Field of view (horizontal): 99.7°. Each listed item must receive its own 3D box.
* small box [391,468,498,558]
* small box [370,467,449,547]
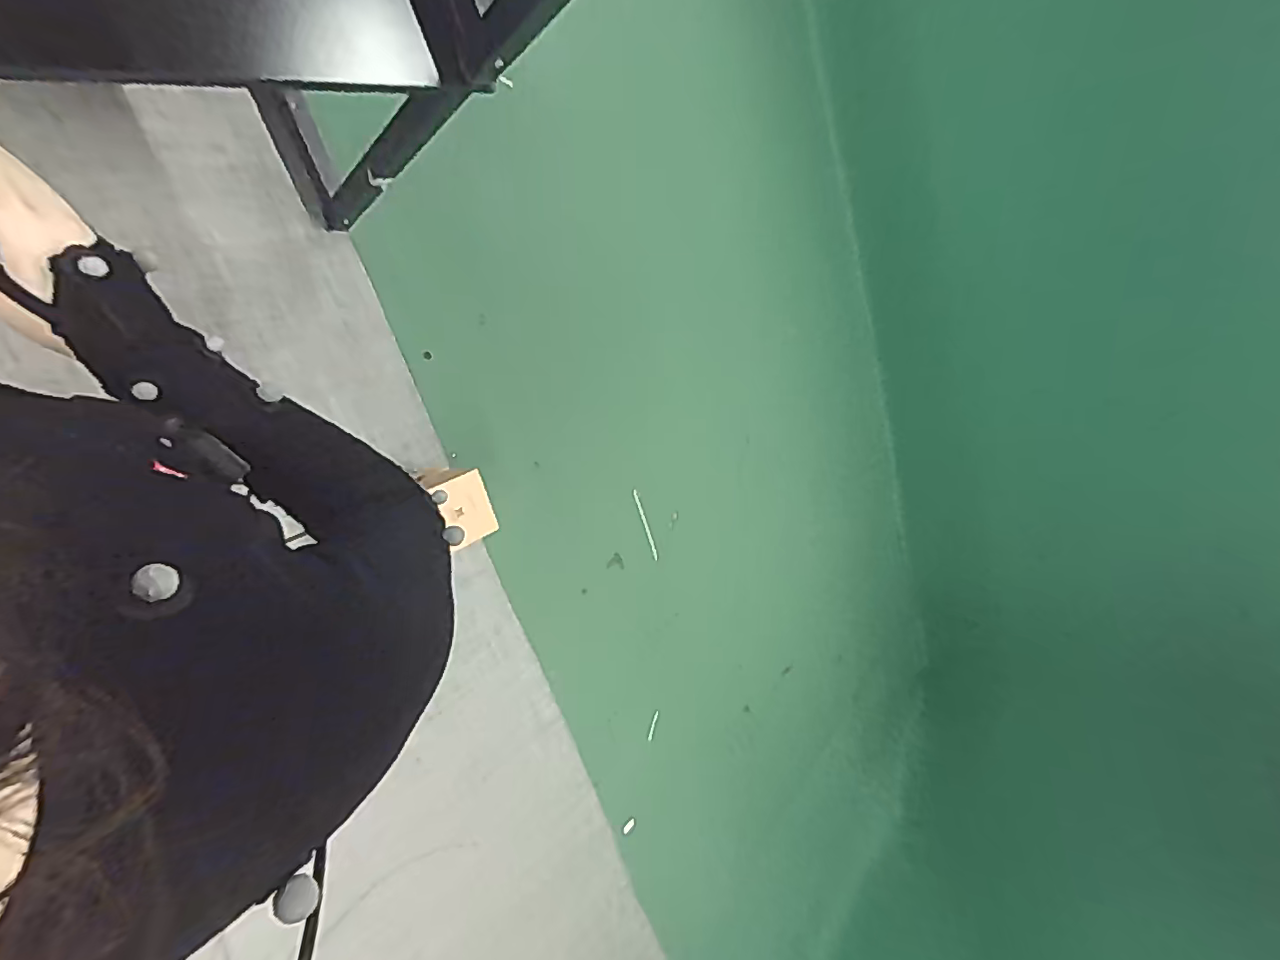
[{"bbox_3d":[-0.488,0.076,1.336,0.179,0.176,0.168,-31,112,-41],"label":"small box"},{"bbox_3d":[-0.596,0.074,1.456,0.168,0.176,0.179,-29,111,-40],"label":"small box"}]
